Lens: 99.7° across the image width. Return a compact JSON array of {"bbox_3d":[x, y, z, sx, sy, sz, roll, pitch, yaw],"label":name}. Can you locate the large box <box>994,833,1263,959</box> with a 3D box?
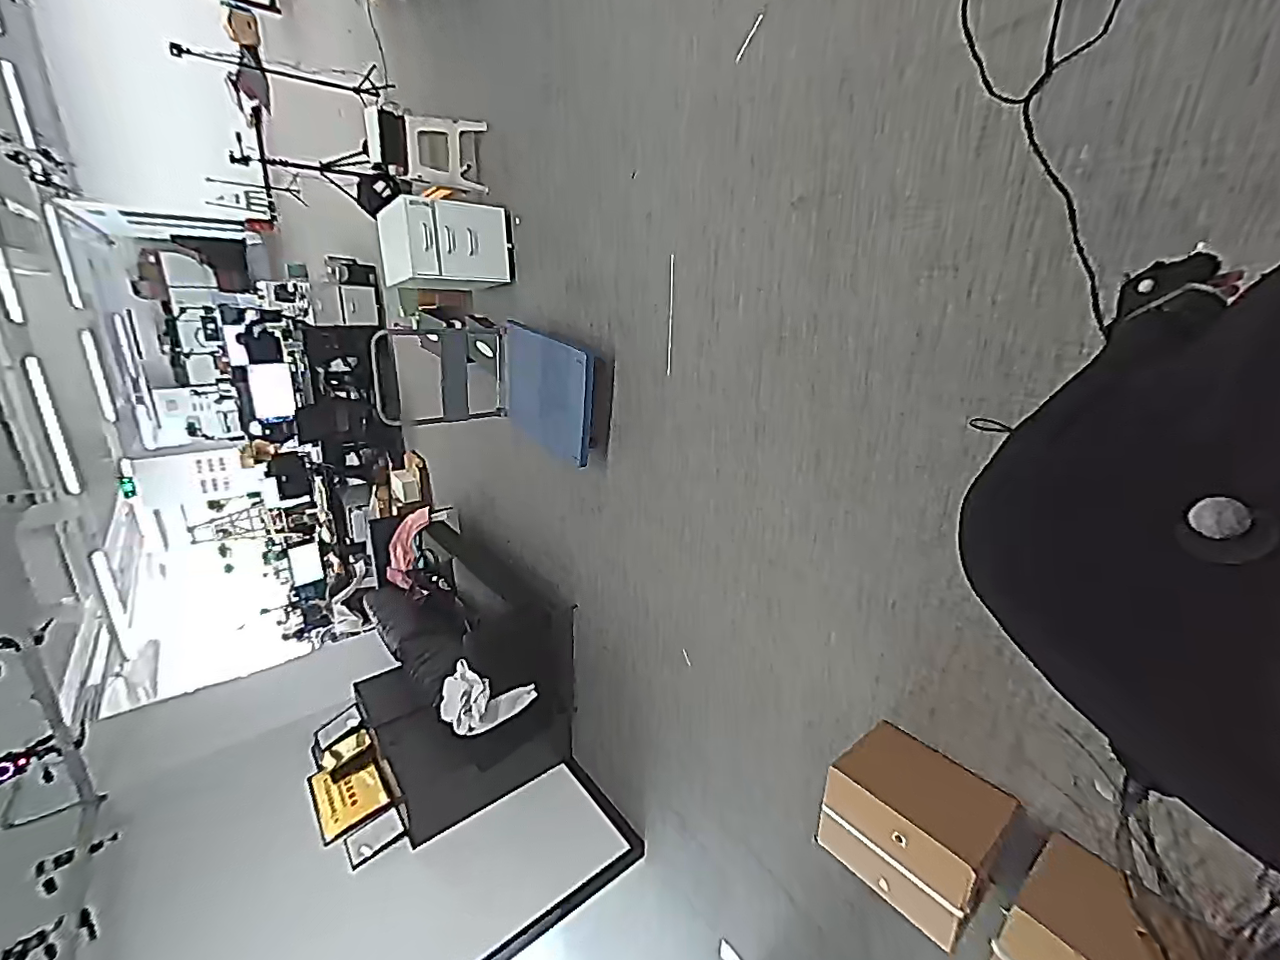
[{"bbox_3d":[1.100,1.144,1.245,0.408,0.320,0.320,24,119,45],"label":"large box"}]
